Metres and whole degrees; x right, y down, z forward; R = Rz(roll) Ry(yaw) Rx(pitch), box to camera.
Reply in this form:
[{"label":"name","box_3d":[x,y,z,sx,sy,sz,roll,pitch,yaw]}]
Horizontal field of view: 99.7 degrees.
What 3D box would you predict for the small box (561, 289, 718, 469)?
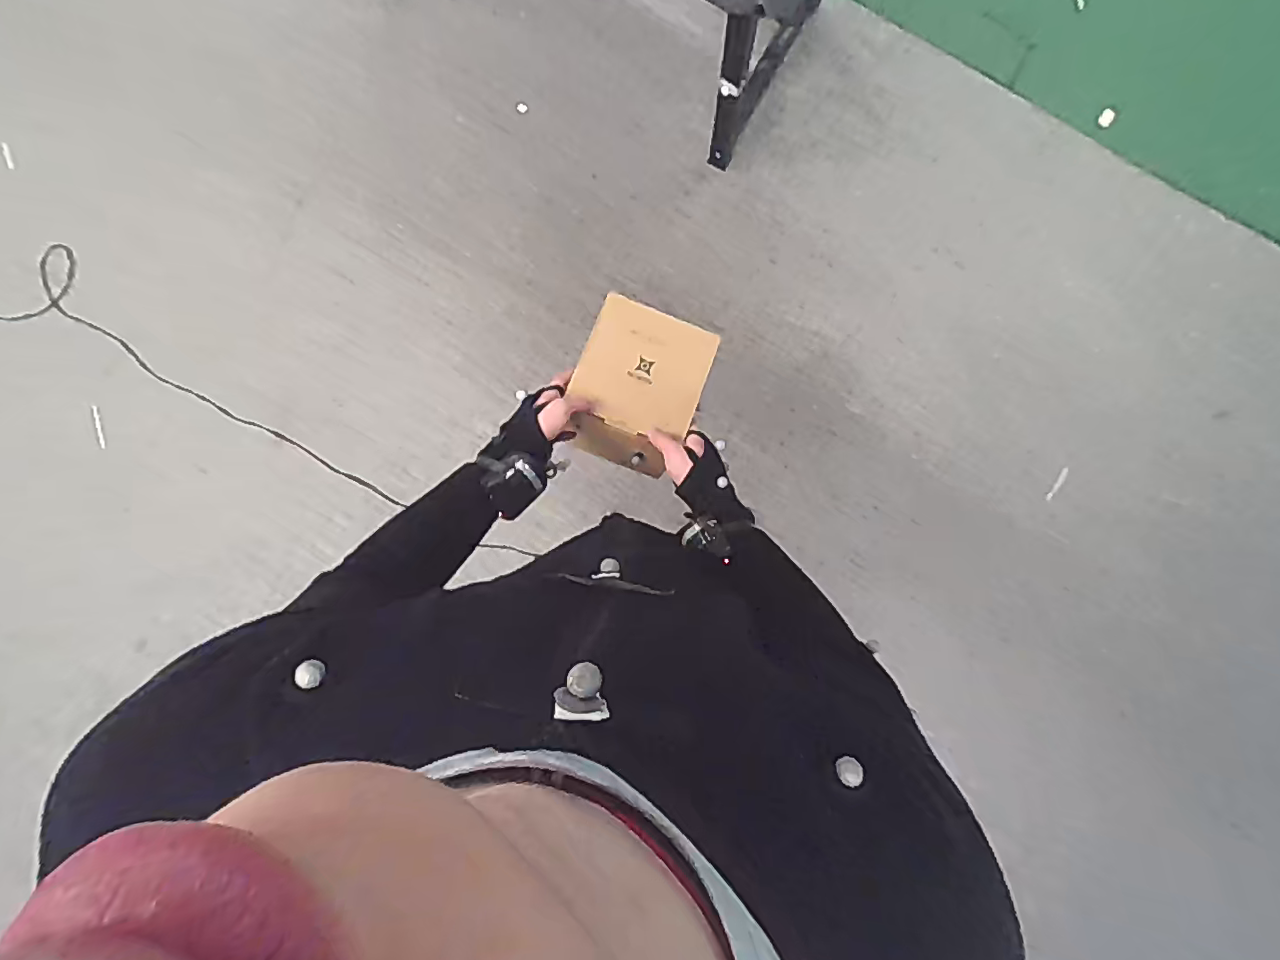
[{"label":"small box","box_3d":[-0.007,-0.133,0.784,0.168,0.176,0.179,20,73,-4]}]
